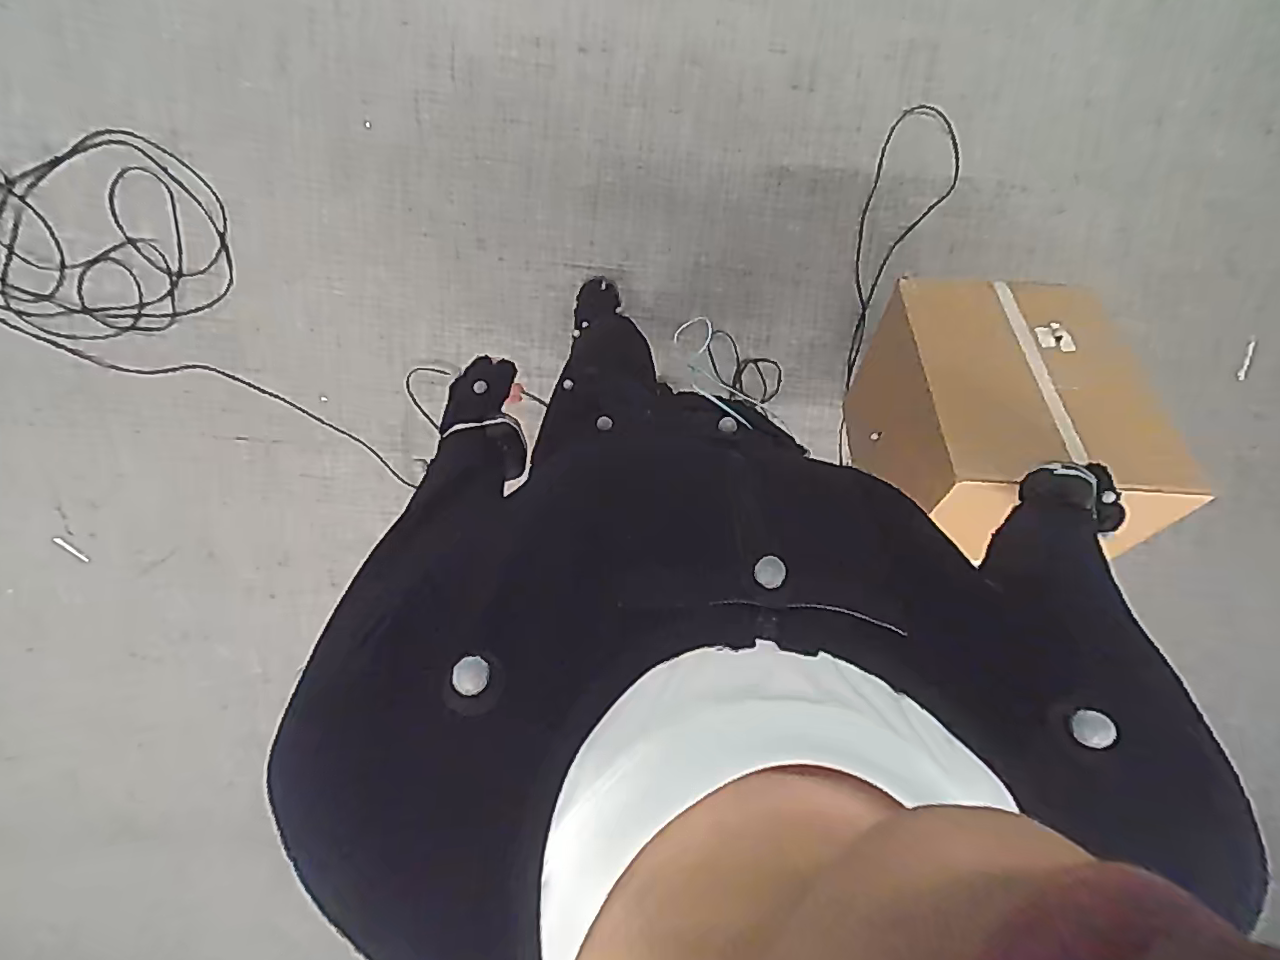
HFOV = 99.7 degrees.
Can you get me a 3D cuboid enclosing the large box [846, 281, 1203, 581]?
[{"bbox_3d":[0.567,-0.076,0.911,0.320,0.408,0.320,4,146,3],"label":"large box"}]
